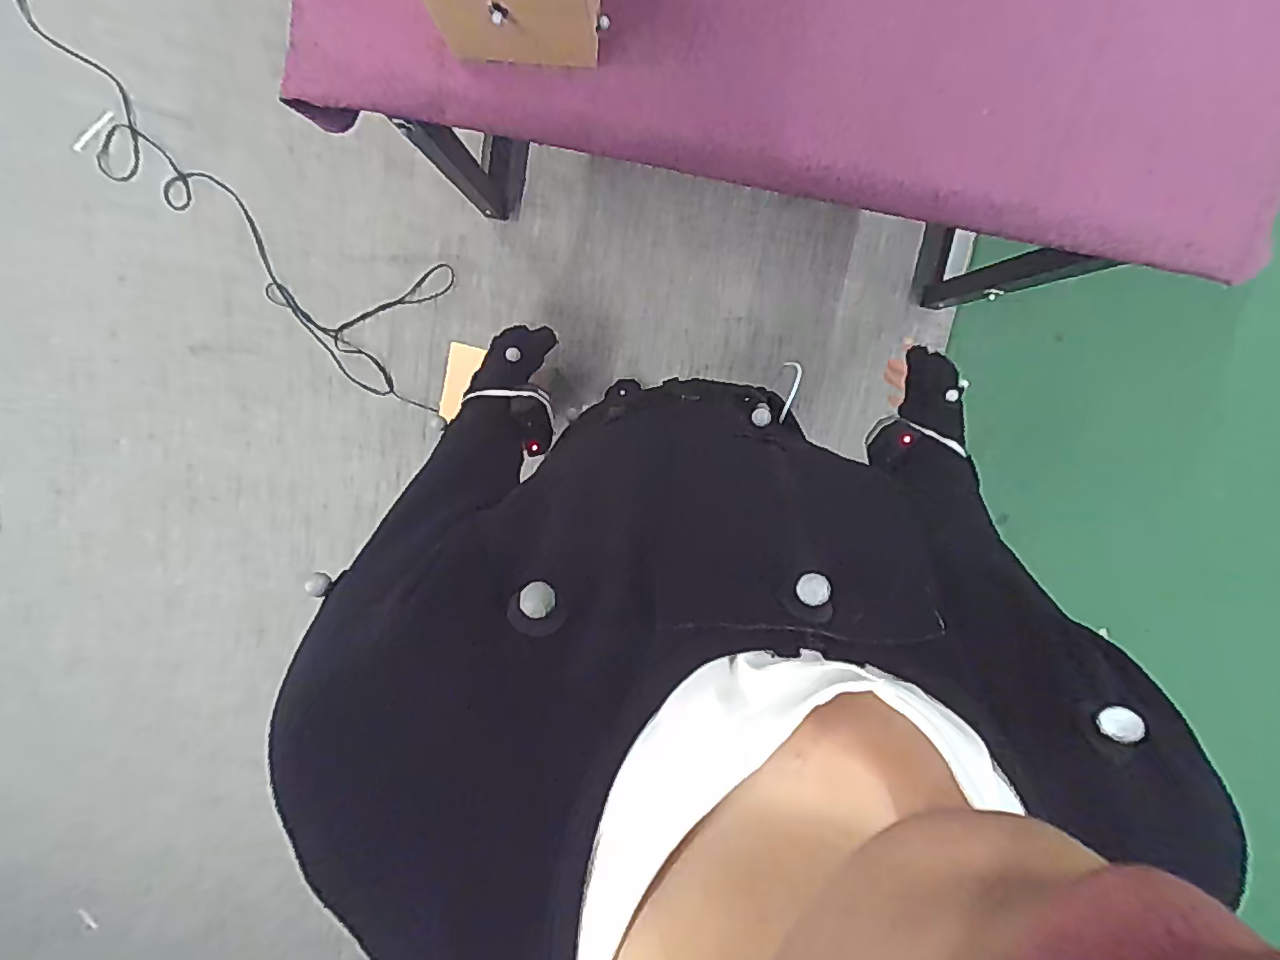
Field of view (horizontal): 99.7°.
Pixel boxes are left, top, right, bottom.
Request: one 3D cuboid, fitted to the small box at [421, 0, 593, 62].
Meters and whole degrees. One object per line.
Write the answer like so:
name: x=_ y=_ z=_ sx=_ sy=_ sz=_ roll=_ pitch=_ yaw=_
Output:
small box: x=-0.137 y=-0.570 z=0.556 sx=0.179 sy=0.176 sz=0.168 roll=4 pitch=99 yaw=-1
